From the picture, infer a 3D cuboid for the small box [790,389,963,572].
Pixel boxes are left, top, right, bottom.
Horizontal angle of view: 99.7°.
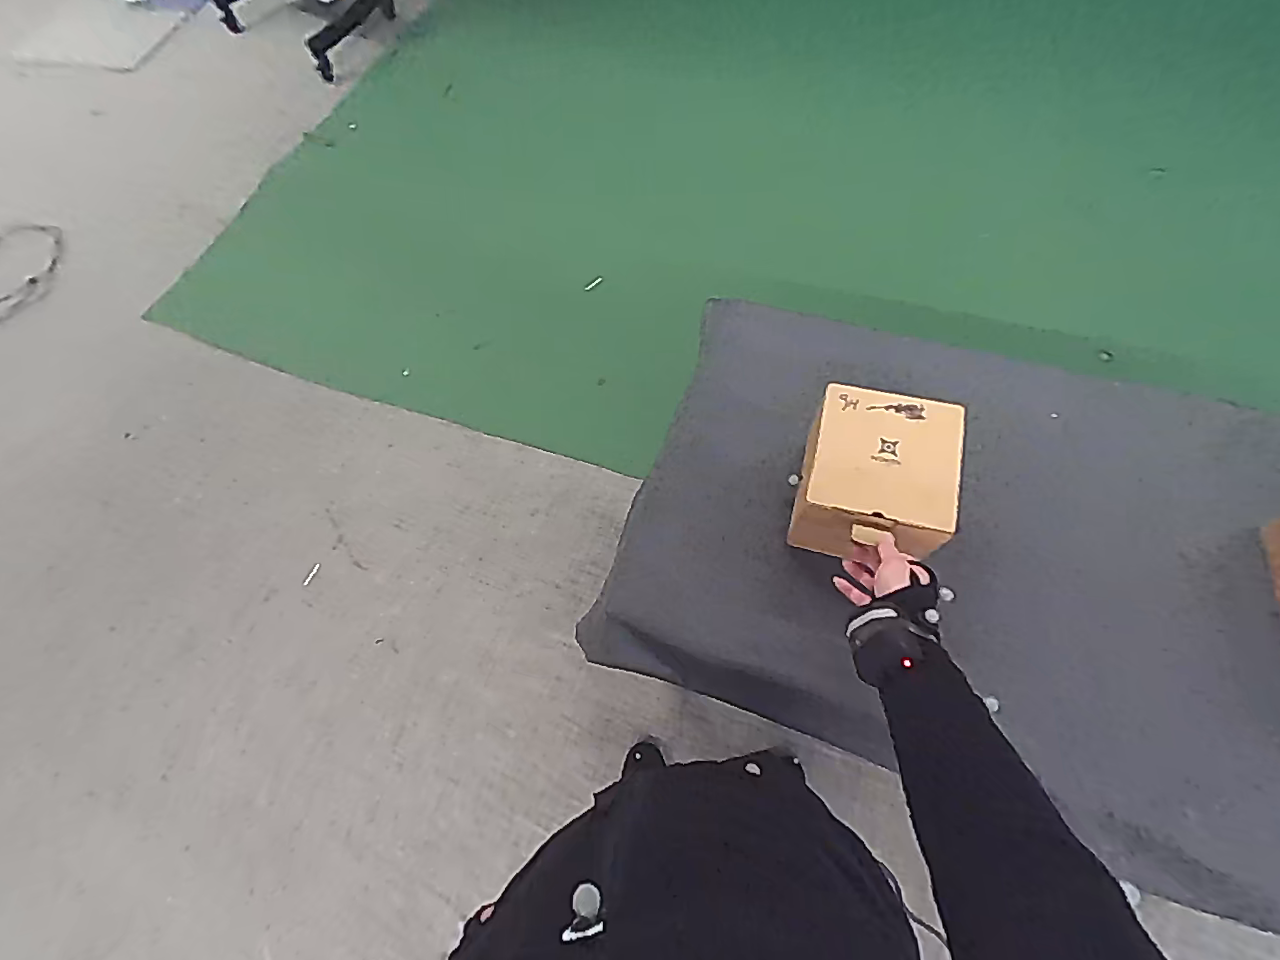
[{"bbox_3d":[0.305,0.008,0.726,0.168,0.176,0.179,14,68,13],"label":"small box"}]
